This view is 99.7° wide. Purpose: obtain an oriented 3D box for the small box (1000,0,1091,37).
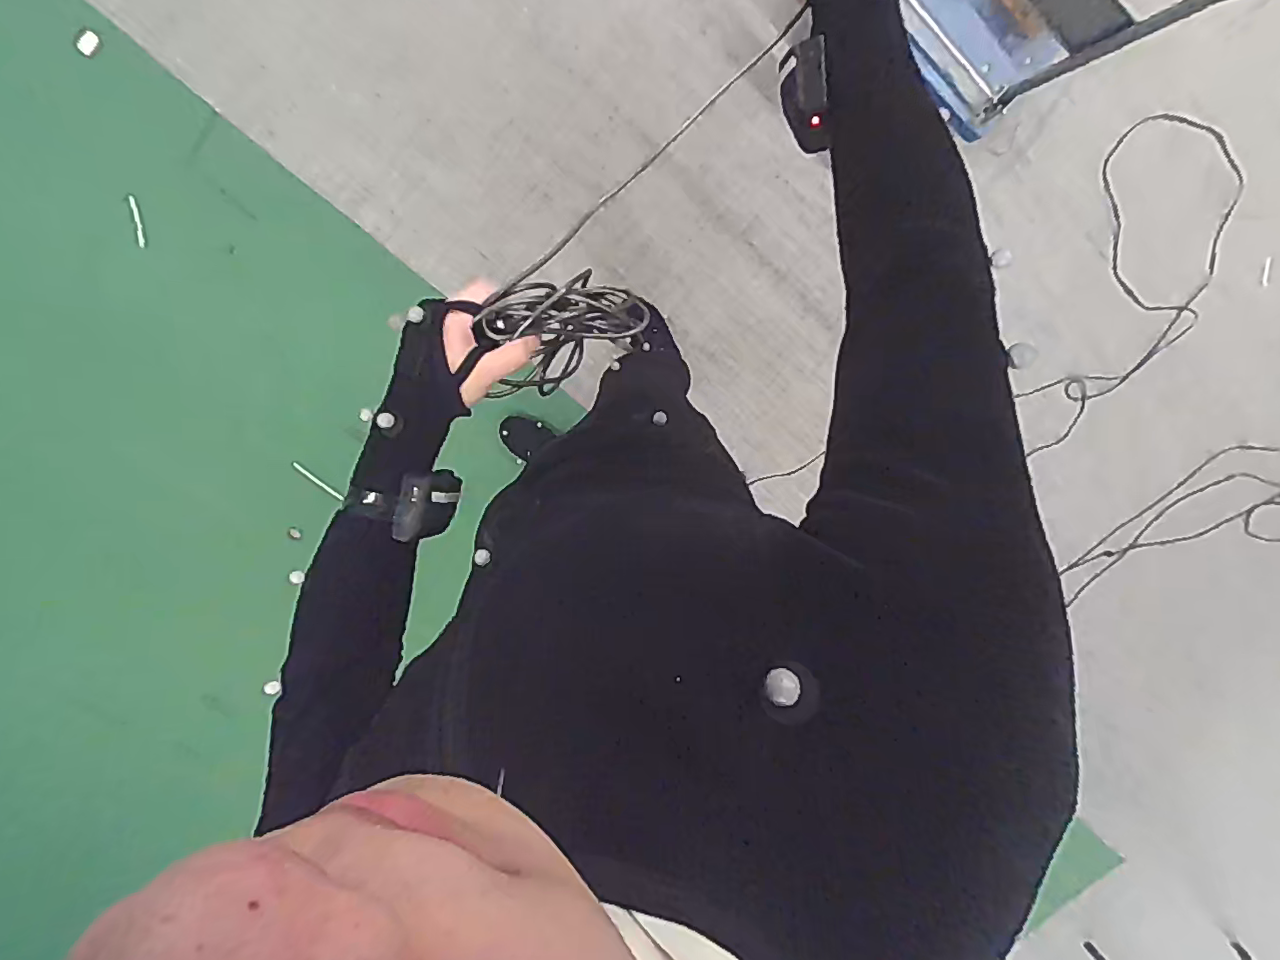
[{"bbox_3d":[0.906,-1.112,1.146,0.168,0.176,0.179,38,100,-15],"label":"small box"}]
